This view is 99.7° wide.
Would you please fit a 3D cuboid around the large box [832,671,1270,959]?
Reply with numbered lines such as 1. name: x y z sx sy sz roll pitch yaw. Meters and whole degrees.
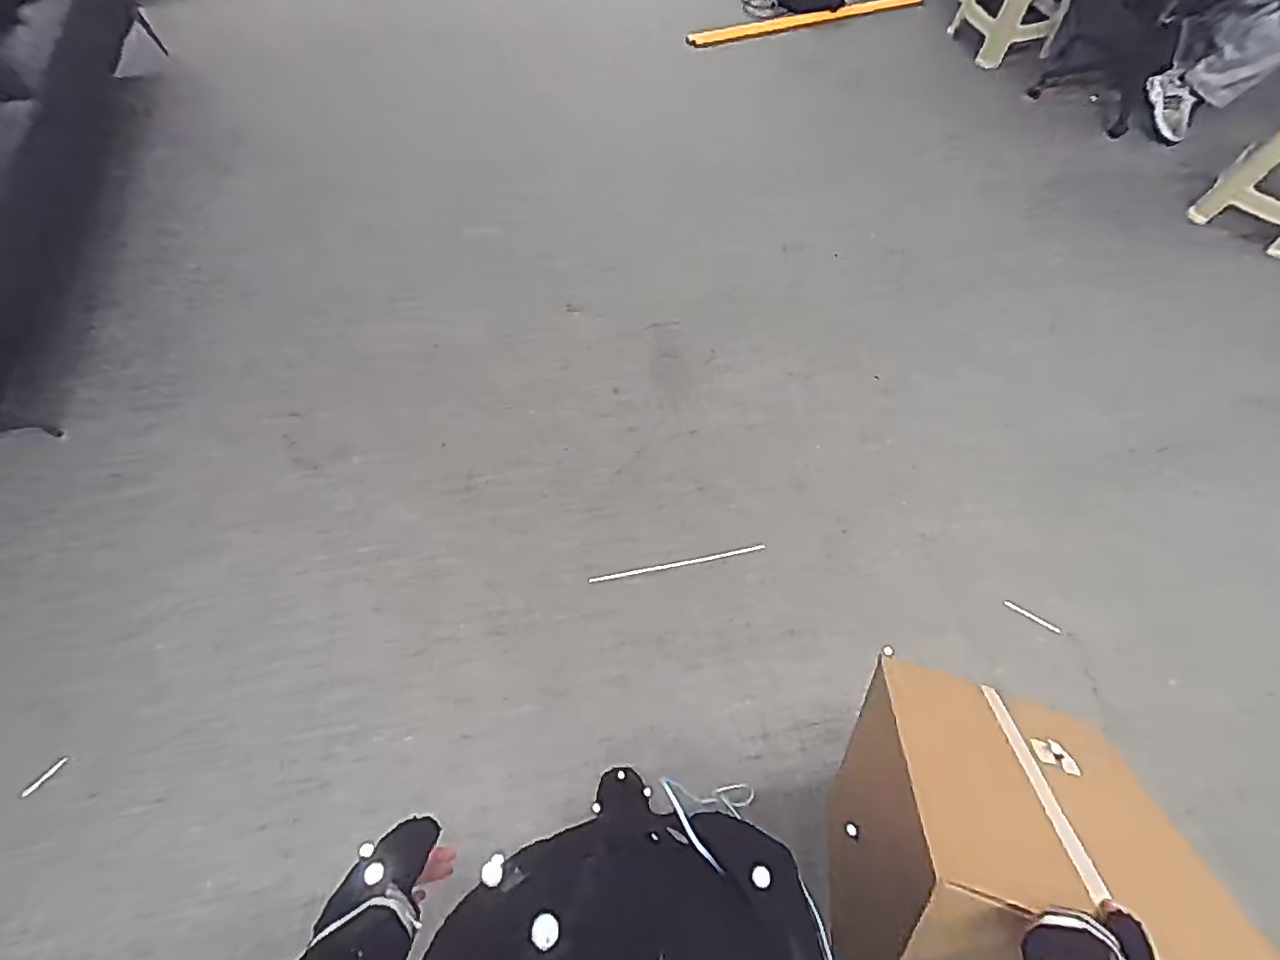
1. large box: 0.452 0.528 0.693 0.320 0.408 0.320 16 106 13
